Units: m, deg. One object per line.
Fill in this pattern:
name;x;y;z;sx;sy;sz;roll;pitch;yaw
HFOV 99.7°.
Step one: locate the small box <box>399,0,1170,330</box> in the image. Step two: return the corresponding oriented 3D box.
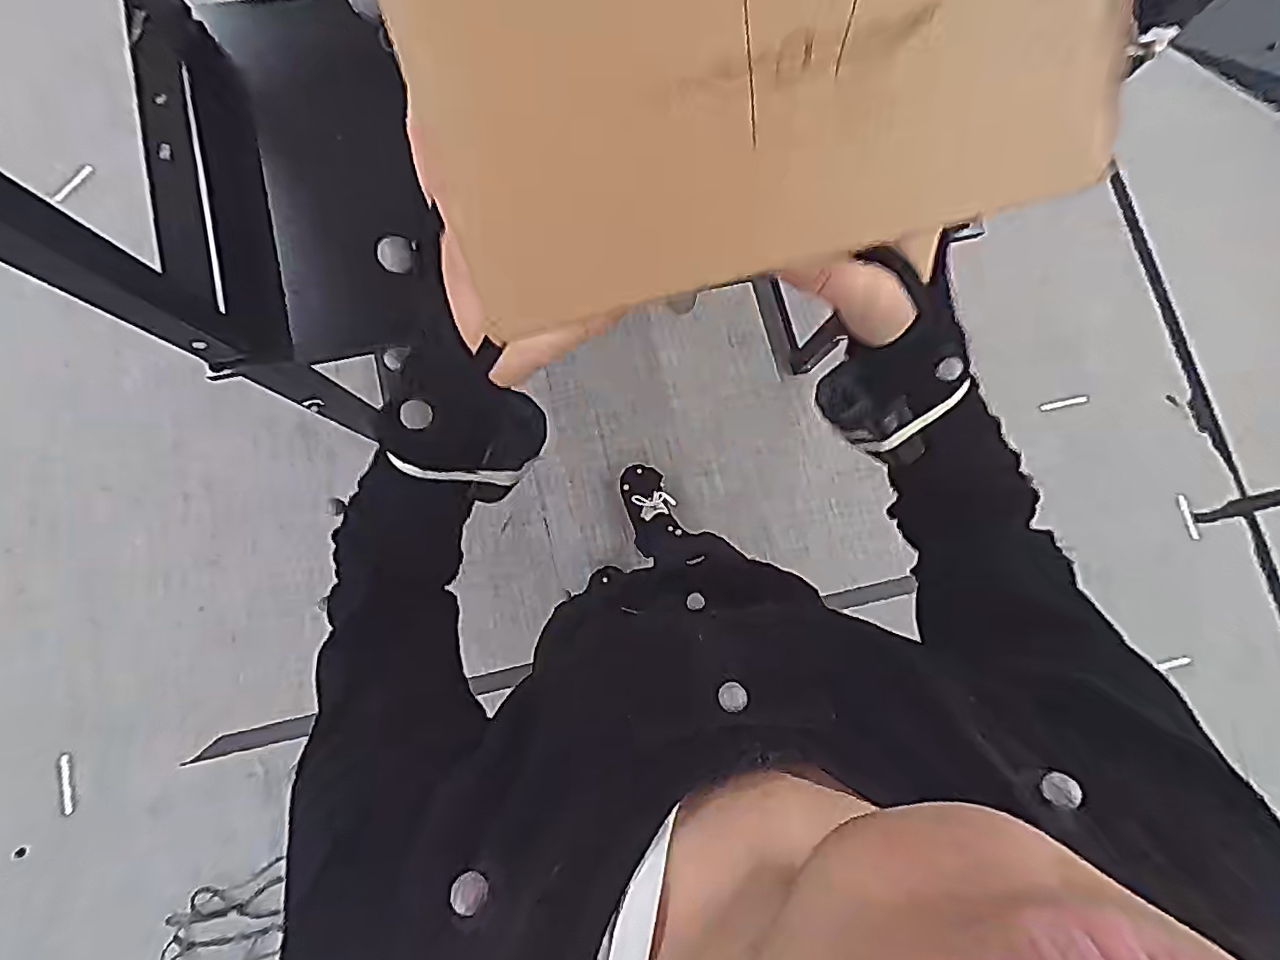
small box;0.018;-0.162;0.177;0.168;0.176;0.179;-15;112;1
